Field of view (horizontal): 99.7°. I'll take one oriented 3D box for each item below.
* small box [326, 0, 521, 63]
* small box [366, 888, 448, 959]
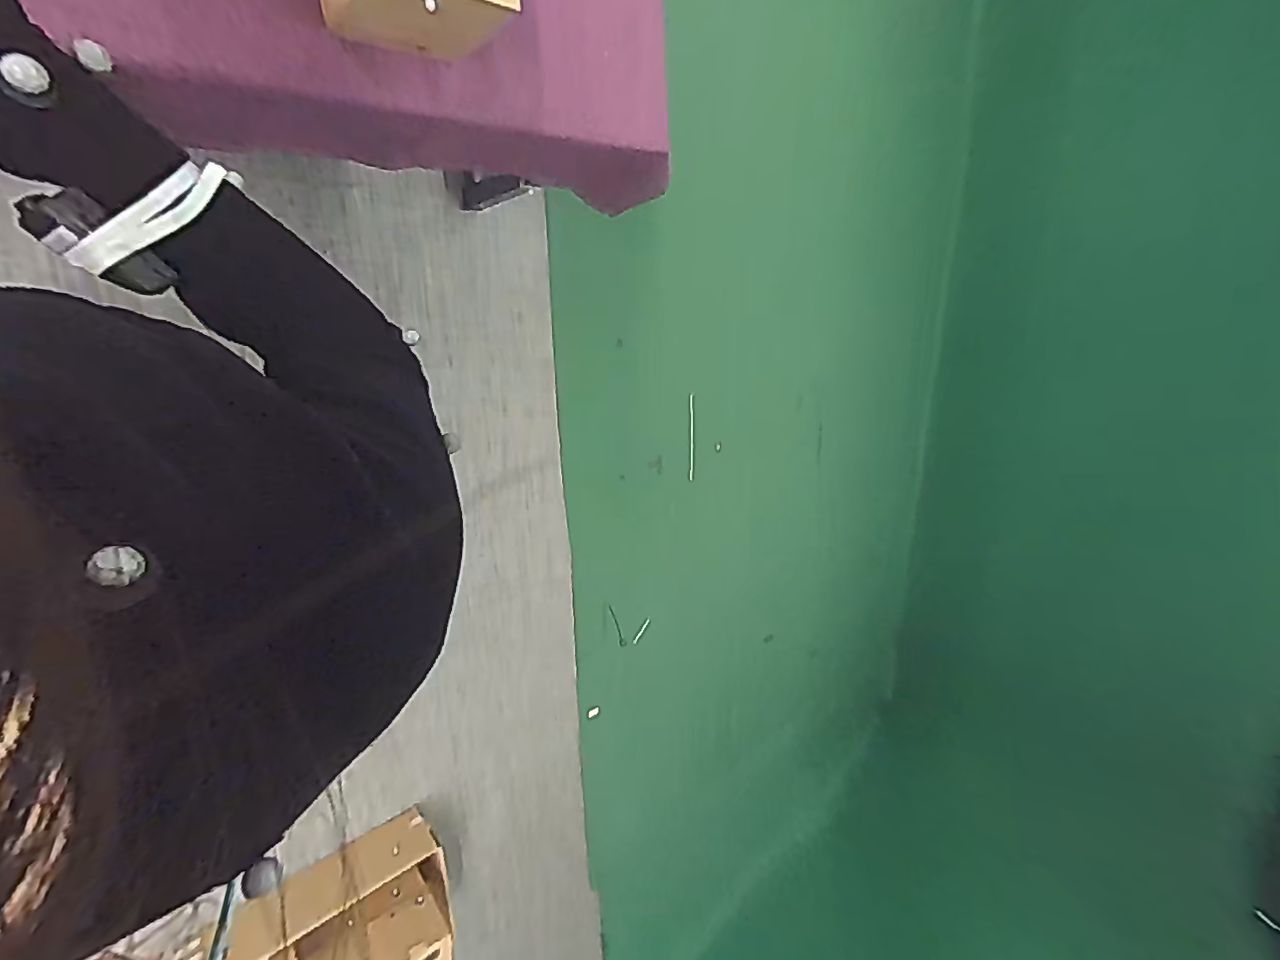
[{"bbox_3d":[-0.255,-0.610,0.599,0.168,0.176,0.179,-18,113,-37],"label":"small box"},{"bbox_3d":[-0.639,1.269,1.477,0.168,0.176,0.179,-7,108,-41],"label":"small box"}]
